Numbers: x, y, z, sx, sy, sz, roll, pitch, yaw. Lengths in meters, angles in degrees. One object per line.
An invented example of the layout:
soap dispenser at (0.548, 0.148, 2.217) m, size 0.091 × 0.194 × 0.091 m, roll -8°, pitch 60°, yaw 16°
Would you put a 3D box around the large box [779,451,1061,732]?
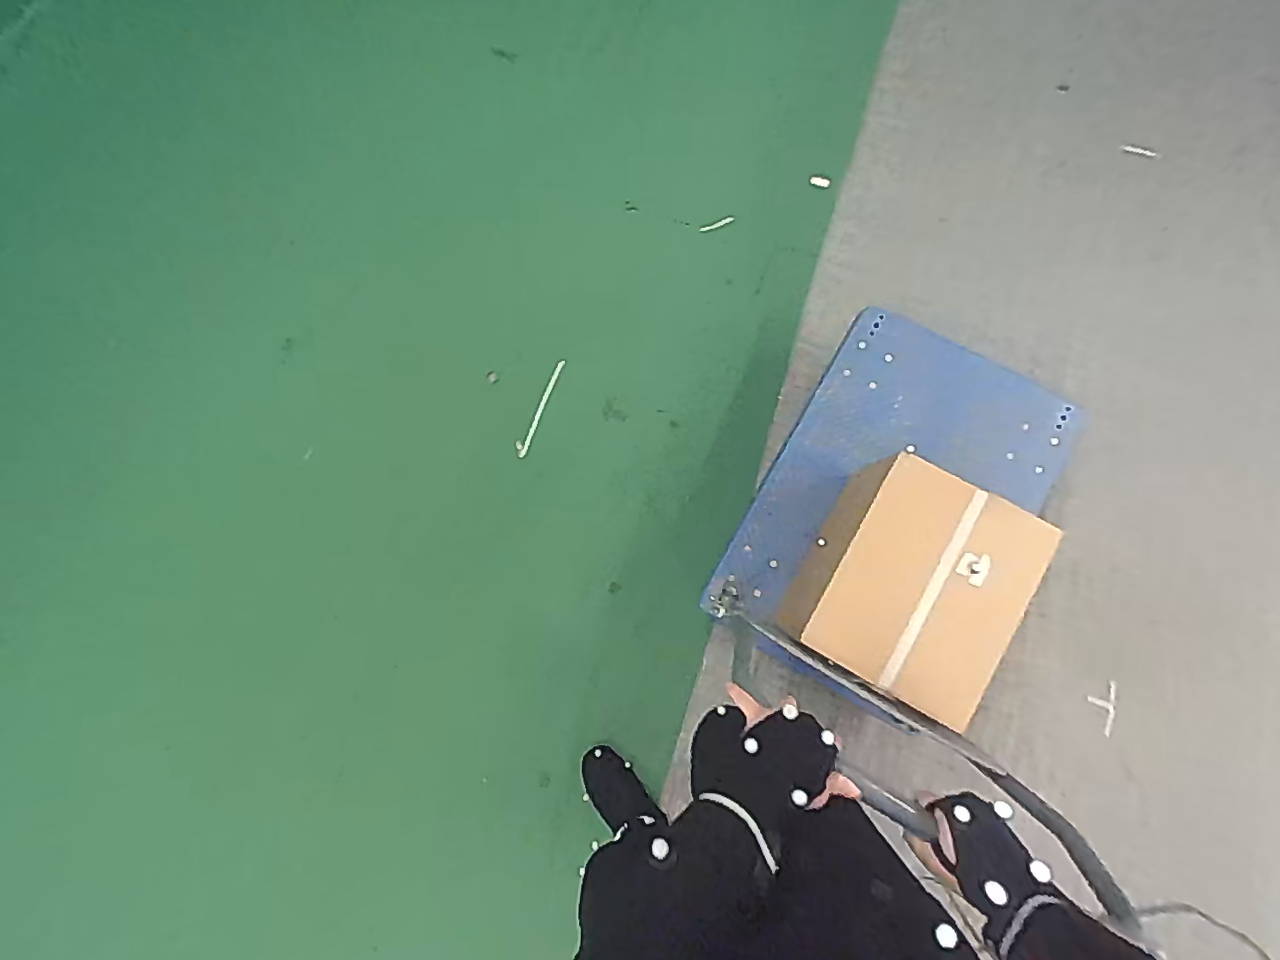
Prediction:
large box at (0.530, 0.212, 1.102) m, size 0.320 × 0.320 × 0.408 m, roll 30°, pitch 84°, yaw 8°
